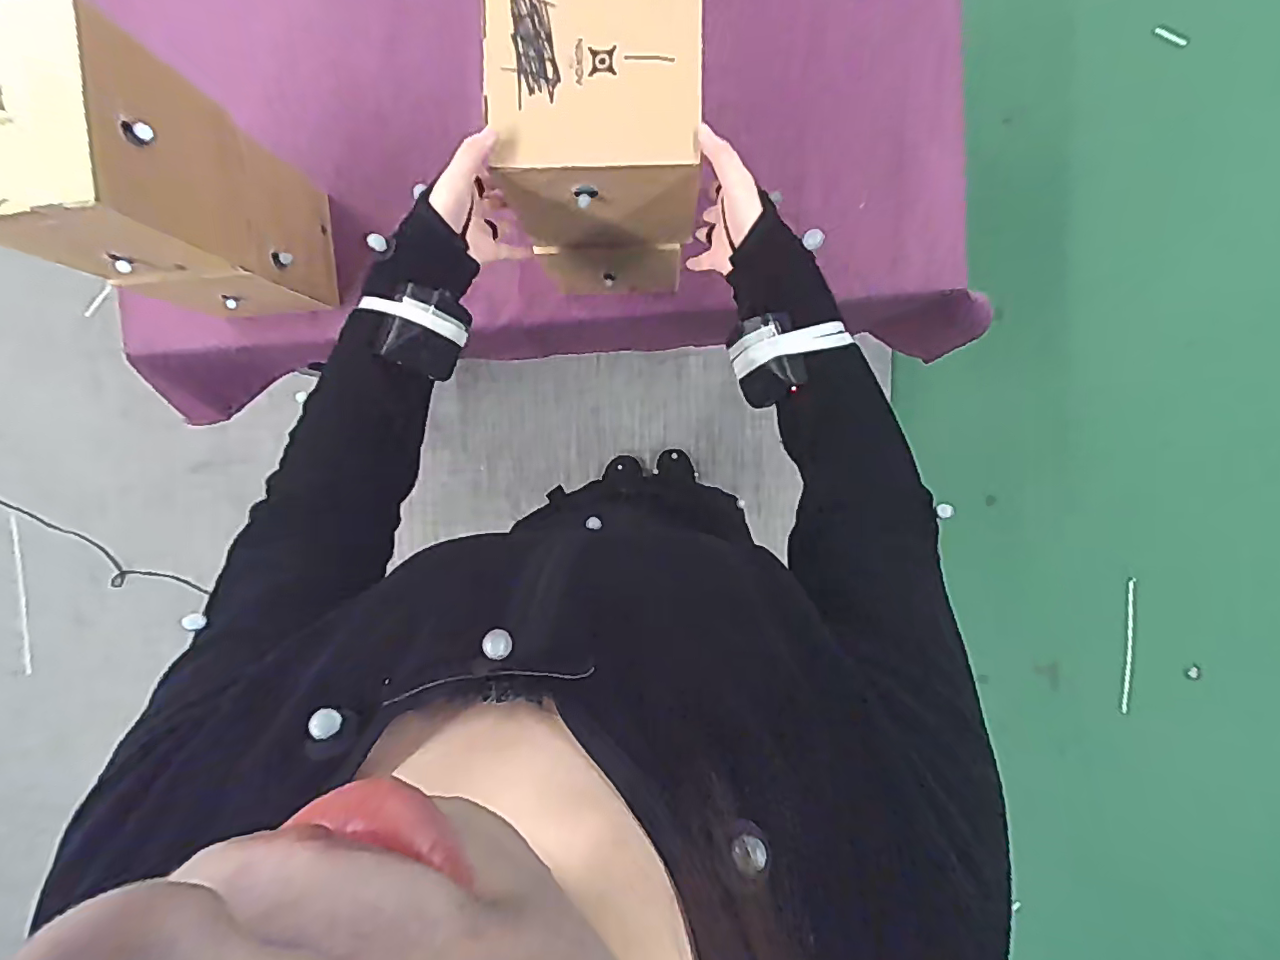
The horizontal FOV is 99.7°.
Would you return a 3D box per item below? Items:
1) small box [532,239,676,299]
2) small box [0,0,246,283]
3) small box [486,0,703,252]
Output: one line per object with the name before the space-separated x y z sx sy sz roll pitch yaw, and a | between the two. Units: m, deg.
small box | -0.037 -0.334 0.679 0.168 0.176 0.179 0 93 2
small box | -0.531 -0.311 0.531 0.168 0.176 0.179 -3 93 2
small box | -0.034 -0.328 0.514 0.179 0.176 0.168 0 93 1
